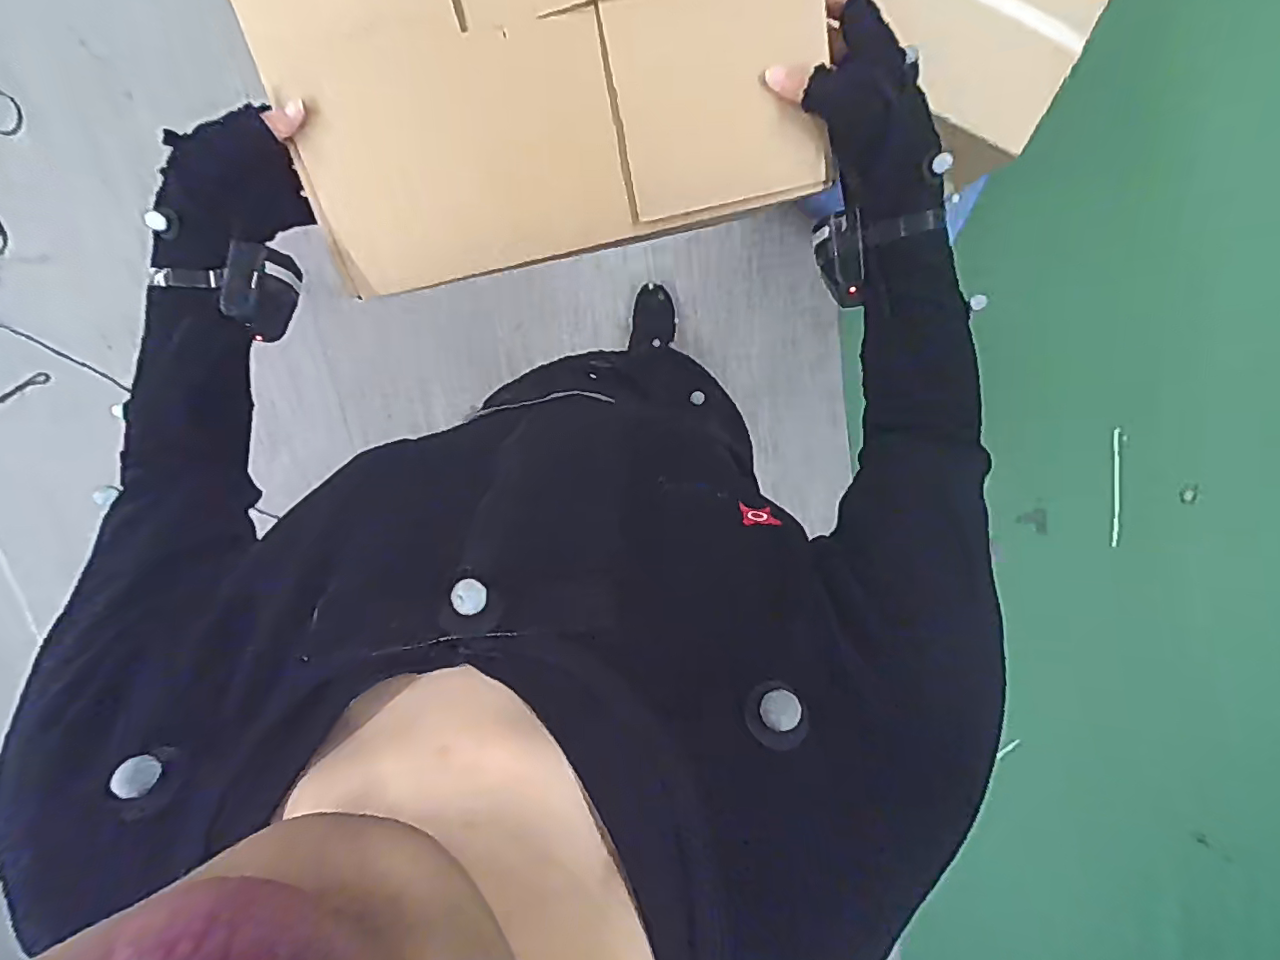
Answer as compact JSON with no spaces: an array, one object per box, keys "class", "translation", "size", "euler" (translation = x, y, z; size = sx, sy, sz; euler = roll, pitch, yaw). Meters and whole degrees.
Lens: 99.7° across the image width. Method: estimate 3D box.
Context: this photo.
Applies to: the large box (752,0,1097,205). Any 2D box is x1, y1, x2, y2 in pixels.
[{"class":"large box","translation":[0.456,-0.740,0.926],"size":[0.408,0.320,0.320],"euler":[26,103,-2]}]
